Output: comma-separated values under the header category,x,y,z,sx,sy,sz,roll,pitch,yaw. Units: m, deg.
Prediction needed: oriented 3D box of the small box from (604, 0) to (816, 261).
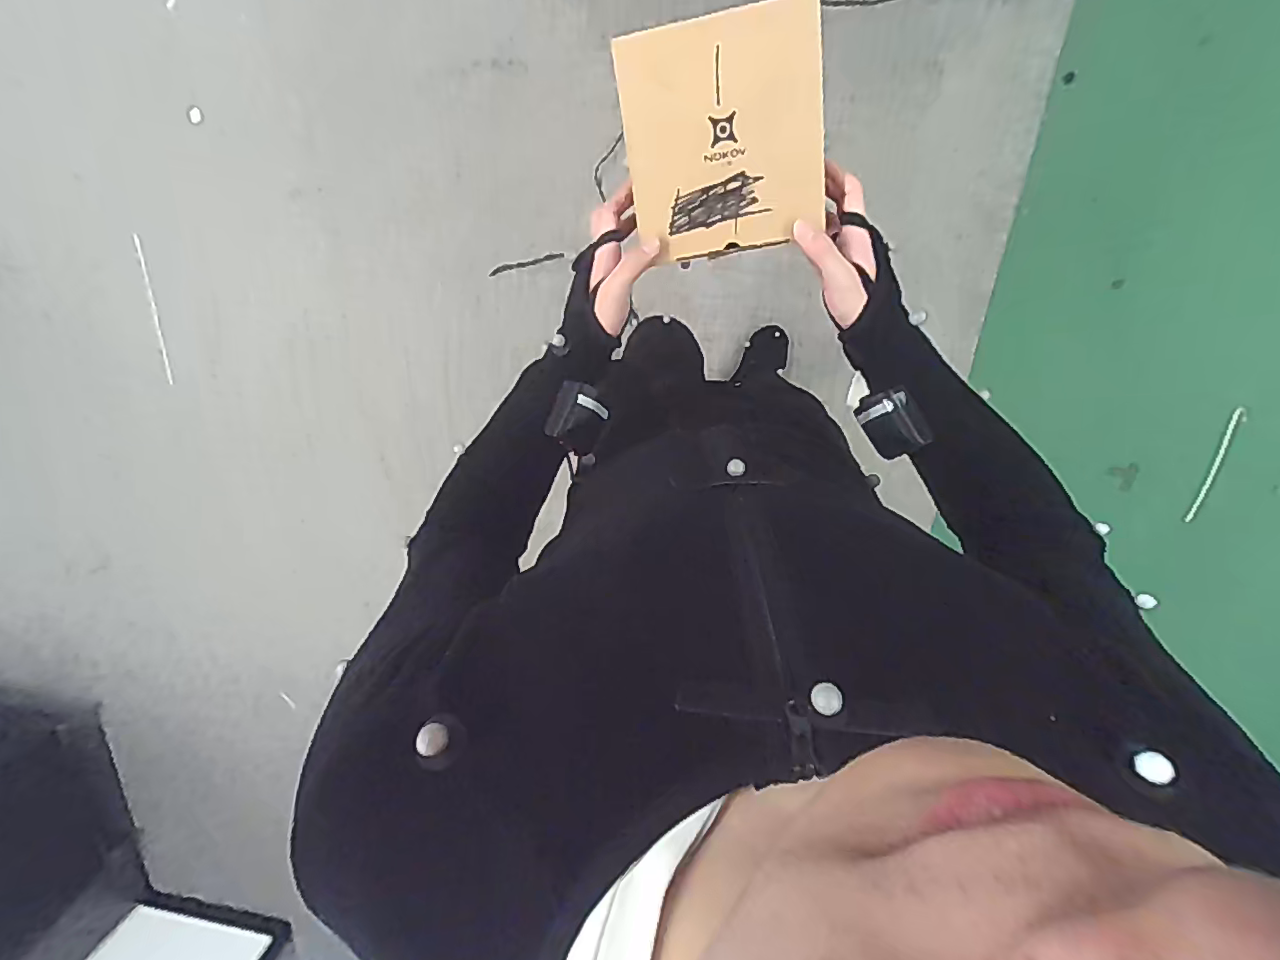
category,x,y,z,sx,sy,sz,roll,pitch,yaw
small box,0.073,-0.324,0.526,0.168,0.176,0.179,-6,113,10
